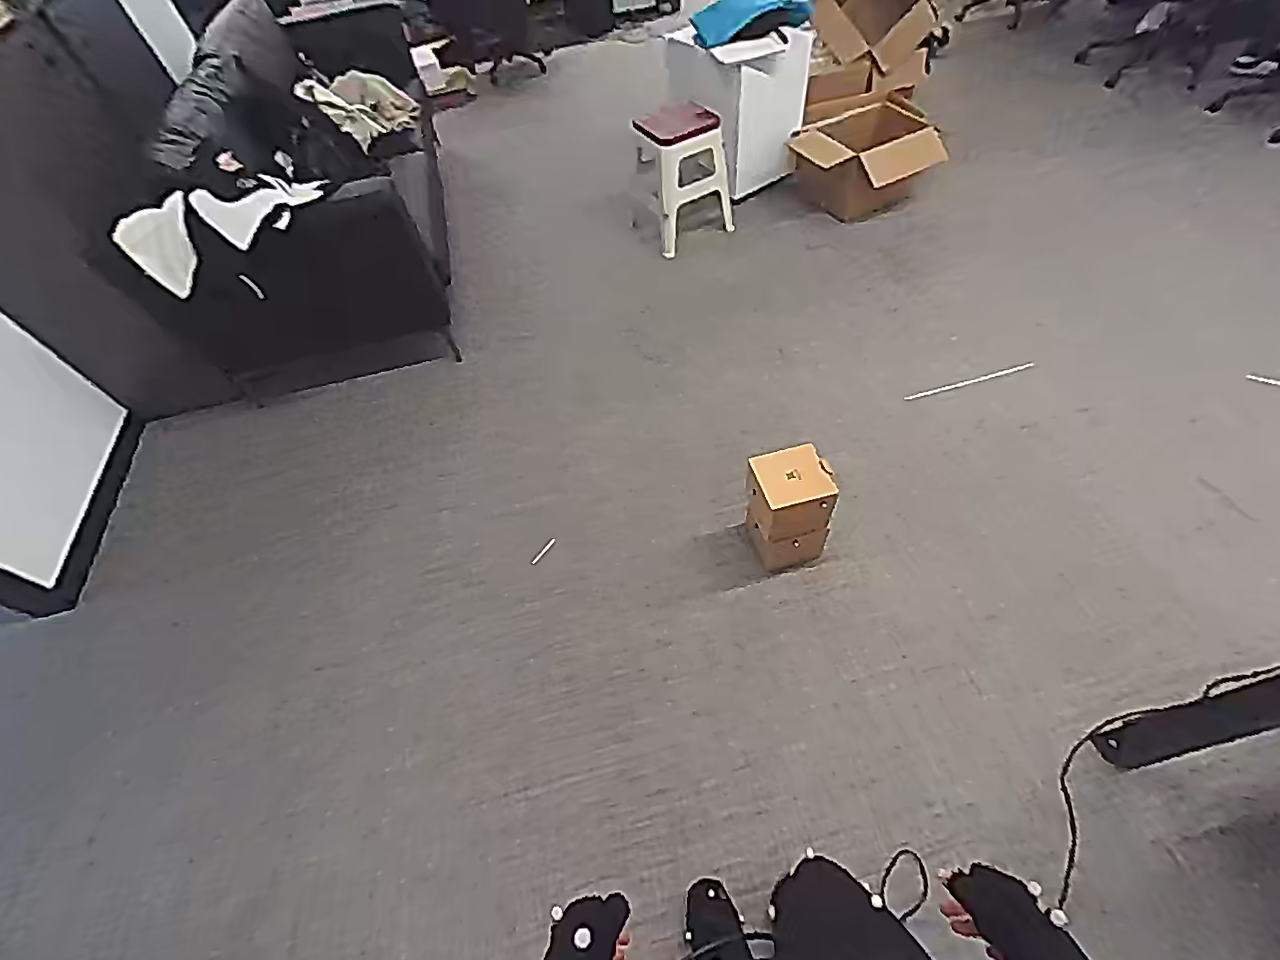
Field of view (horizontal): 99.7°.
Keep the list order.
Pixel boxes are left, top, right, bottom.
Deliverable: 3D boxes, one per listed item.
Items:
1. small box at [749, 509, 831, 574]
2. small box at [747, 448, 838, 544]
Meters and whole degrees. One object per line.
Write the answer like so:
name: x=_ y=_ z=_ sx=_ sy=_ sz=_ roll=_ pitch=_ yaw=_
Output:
small box: x=0.417 y=0.141 z=1.542 sx=0.168 sy=0.176 sz=0.179 roll=-15 pitch=53 yaw=-4
small box: x=0.388 y=0.047 z=1.411 sx=0.179 sy=0.176 sz=0.168 roll=-15 pitch=54 yaw=-4
